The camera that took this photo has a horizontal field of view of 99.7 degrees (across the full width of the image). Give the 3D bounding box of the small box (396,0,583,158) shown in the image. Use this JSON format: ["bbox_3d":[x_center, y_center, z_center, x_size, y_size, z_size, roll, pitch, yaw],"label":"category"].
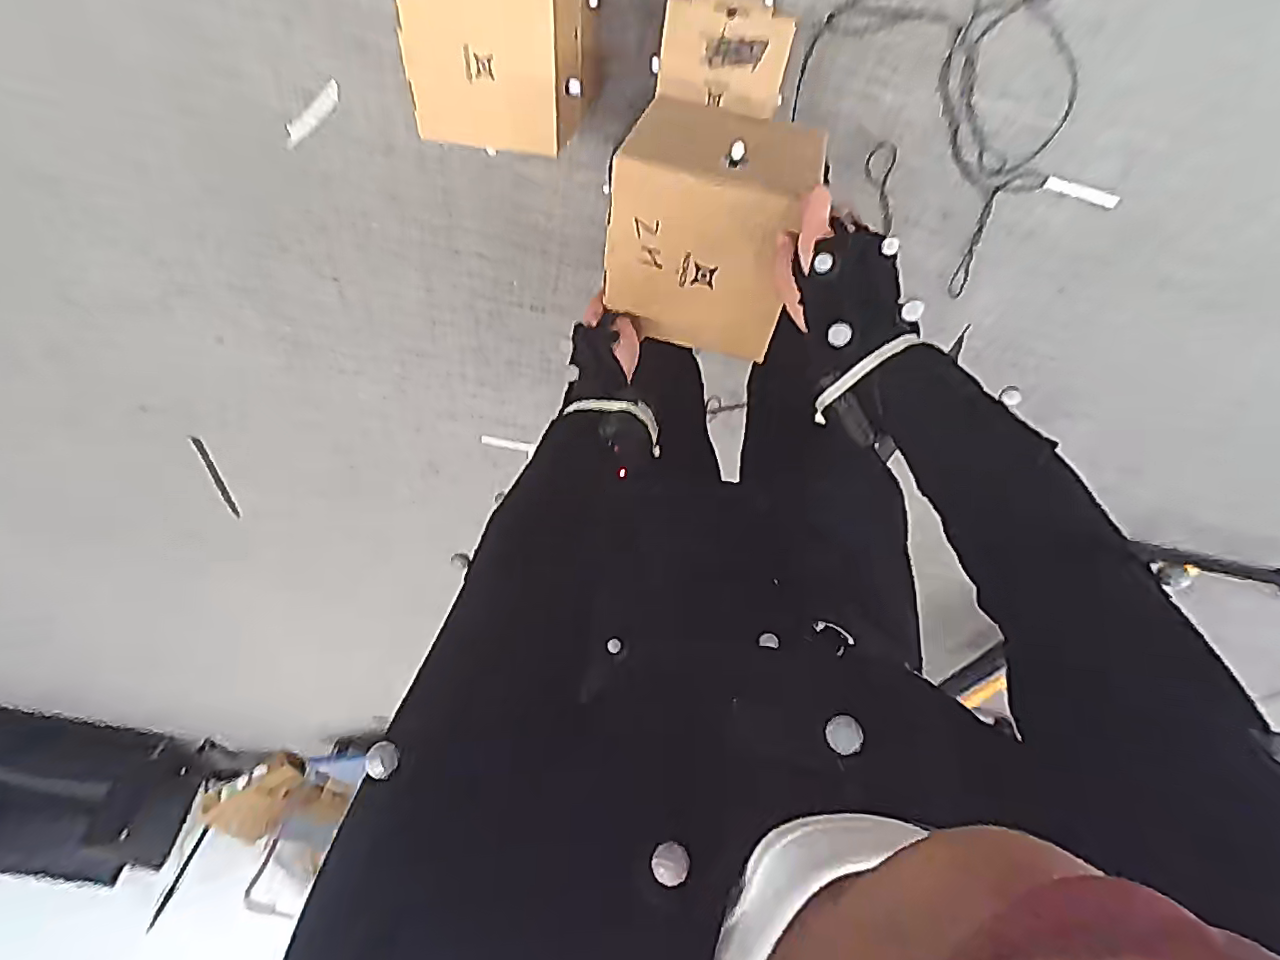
[{"bbox_3d":[-0.167,-0.516,0.659,0.179,0.176,0.168,8,135,2],"label":"small box"}]

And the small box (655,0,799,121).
[{"bbox_3d":[0.116,-0.575,0.784,0.168,0.176,0.179,11,136,-1],"label":"small box"}]

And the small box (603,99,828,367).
[{"bbox_3d":[0.074,-0.245,0.535,0.179,0.176,0.168,16,142,4],"label":"small box"}]
